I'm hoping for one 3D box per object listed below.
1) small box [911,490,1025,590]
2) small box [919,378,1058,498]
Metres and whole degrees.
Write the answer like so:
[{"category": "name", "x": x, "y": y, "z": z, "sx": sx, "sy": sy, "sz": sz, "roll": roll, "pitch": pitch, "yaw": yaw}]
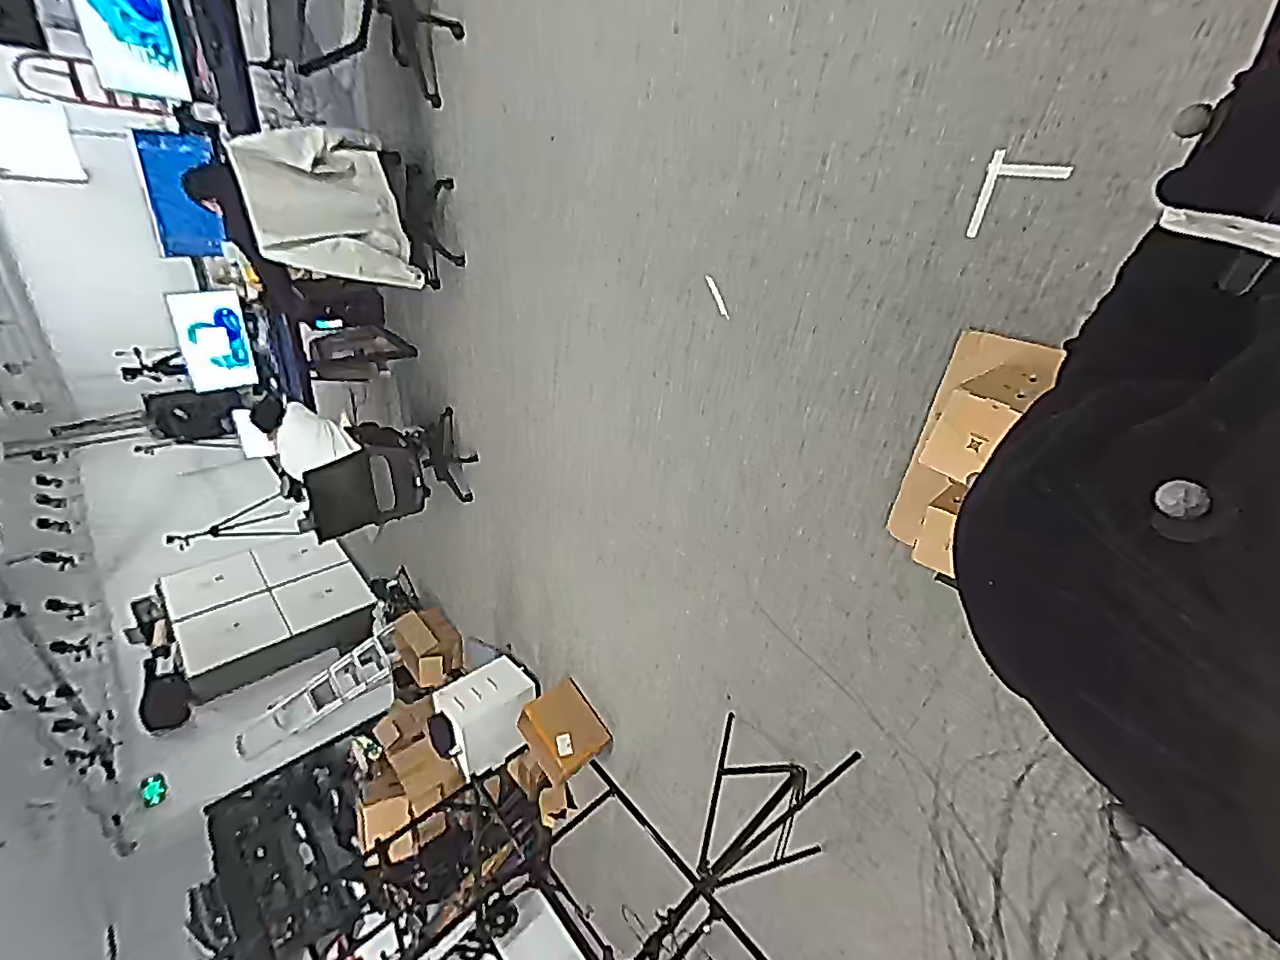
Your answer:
[{"category": "small box", "x": 0.820, "y": 0.140, "z": 1.355, "sx": 0.179, "sy": 0.176, "sz": 0.168, "roll": 28, "pitch": 126, "yaw": 40}, {"category": "small box", "x": 0.718, "y": -0.094, "z": 1.113, "sx": 0.168, "sy": 0.176, "sz": 0.179, "roll": 35, "pitch": 128, "yaw": 34}]
